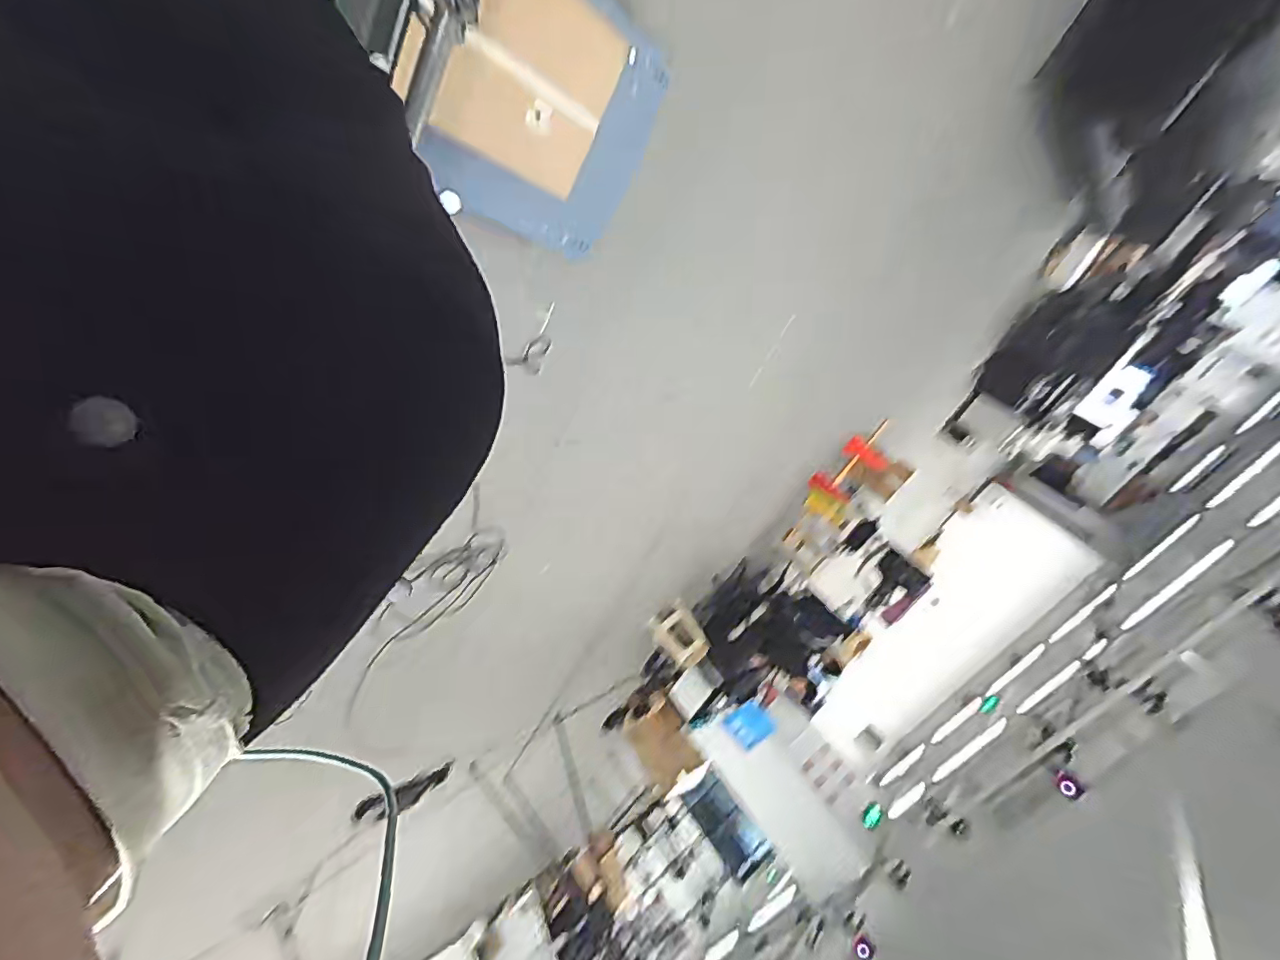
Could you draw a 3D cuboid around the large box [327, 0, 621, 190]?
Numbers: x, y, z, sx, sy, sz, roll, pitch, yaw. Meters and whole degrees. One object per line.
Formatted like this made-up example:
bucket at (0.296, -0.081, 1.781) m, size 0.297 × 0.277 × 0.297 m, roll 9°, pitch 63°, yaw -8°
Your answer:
large box at (-0.324, -0.852, 1.062) m, size 0.408 × 0.320 × 0.320 m, roll 1°, pitch 128°, yaw -51°
